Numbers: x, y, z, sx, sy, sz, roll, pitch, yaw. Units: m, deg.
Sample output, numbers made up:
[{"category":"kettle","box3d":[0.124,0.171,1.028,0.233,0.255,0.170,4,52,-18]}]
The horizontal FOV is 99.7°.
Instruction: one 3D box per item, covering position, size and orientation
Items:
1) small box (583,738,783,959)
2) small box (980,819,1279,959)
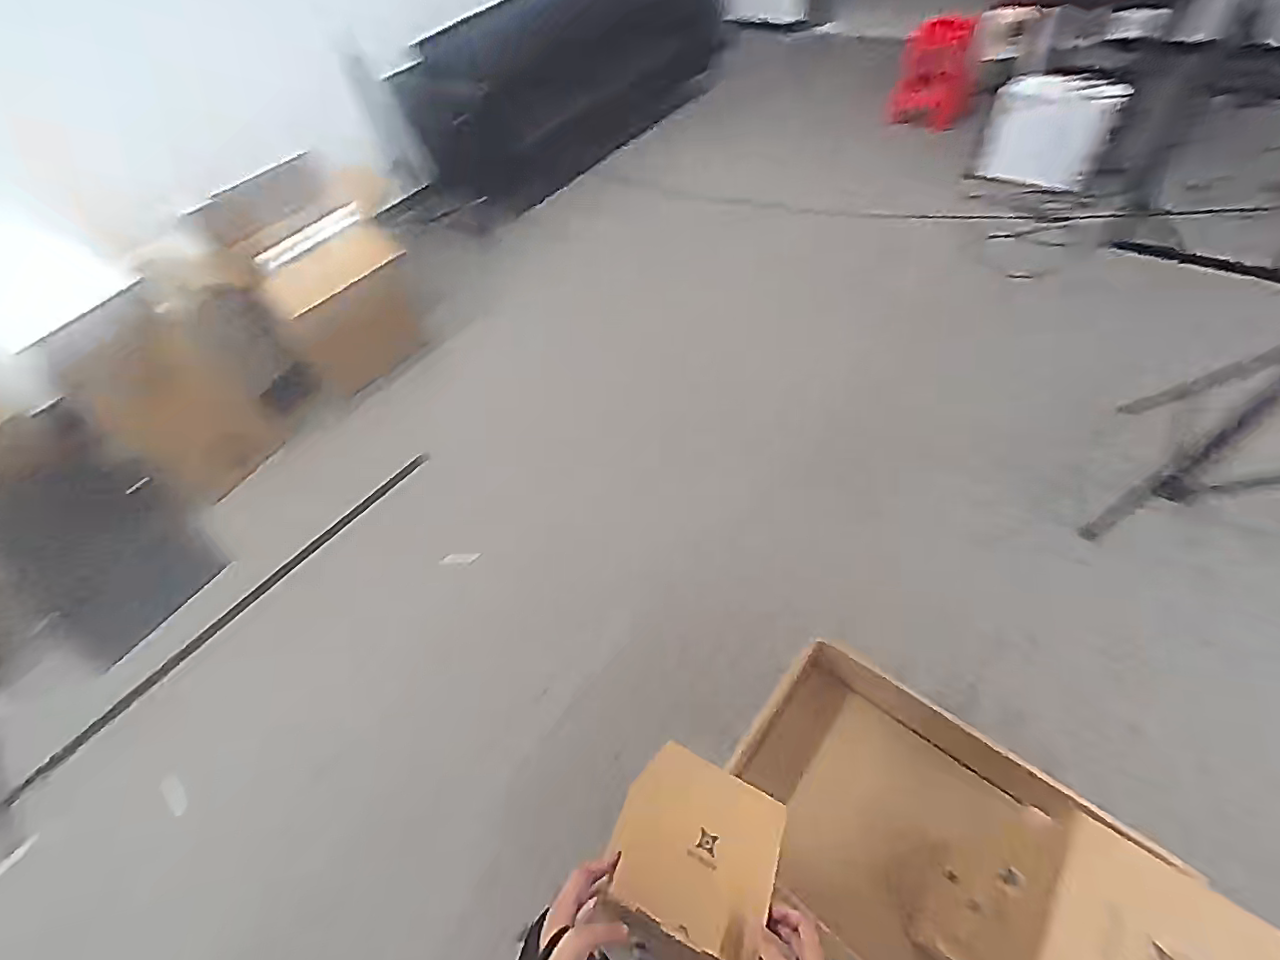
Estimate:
[{"category":"small box","box3d":[0.048,0.458,0.652,0.168,0.176,0.179,27,43,6]},{"category":"small box","box3d":[0.477,0.472,0.529,0.179,0.176,0.168,28,62,28]}]
